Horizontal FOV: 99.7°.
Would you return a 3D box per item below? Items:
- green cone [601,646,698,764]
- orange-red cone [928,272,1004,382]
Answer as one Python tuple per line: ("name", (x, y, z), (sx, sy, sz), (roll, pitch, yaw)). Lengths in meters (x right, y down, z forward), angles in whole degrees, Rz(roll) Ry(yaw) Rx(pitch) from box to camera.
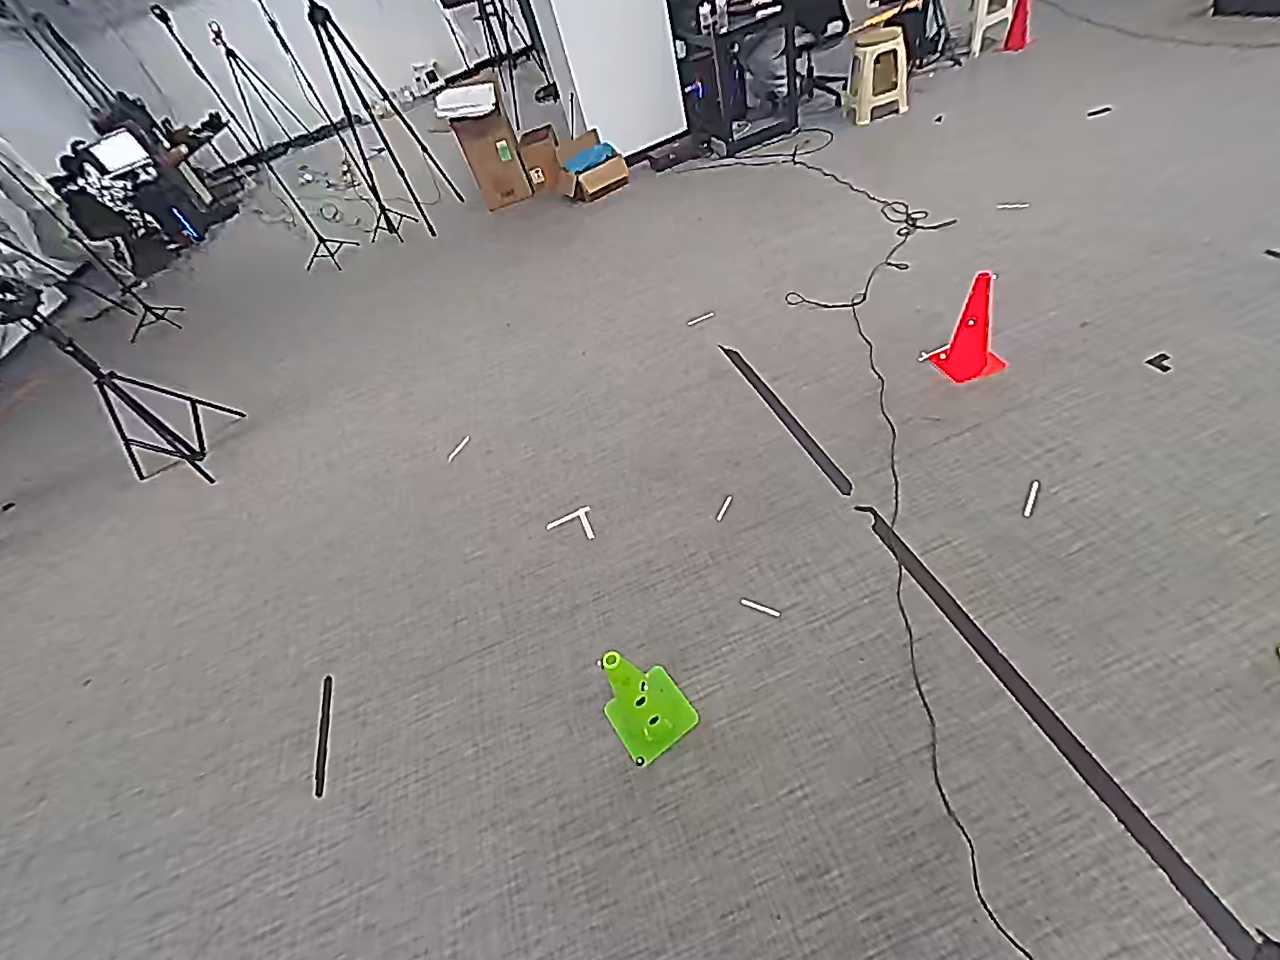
("green cone", (-0.016, 0.512, 1.335), (0.200, 0.368, 0.202), (-35, 45, -14))
("orange-red cone", (1.166, -0.557, 1.893), (0.198, 0.360, 0.199), (-19, 46, 4))
